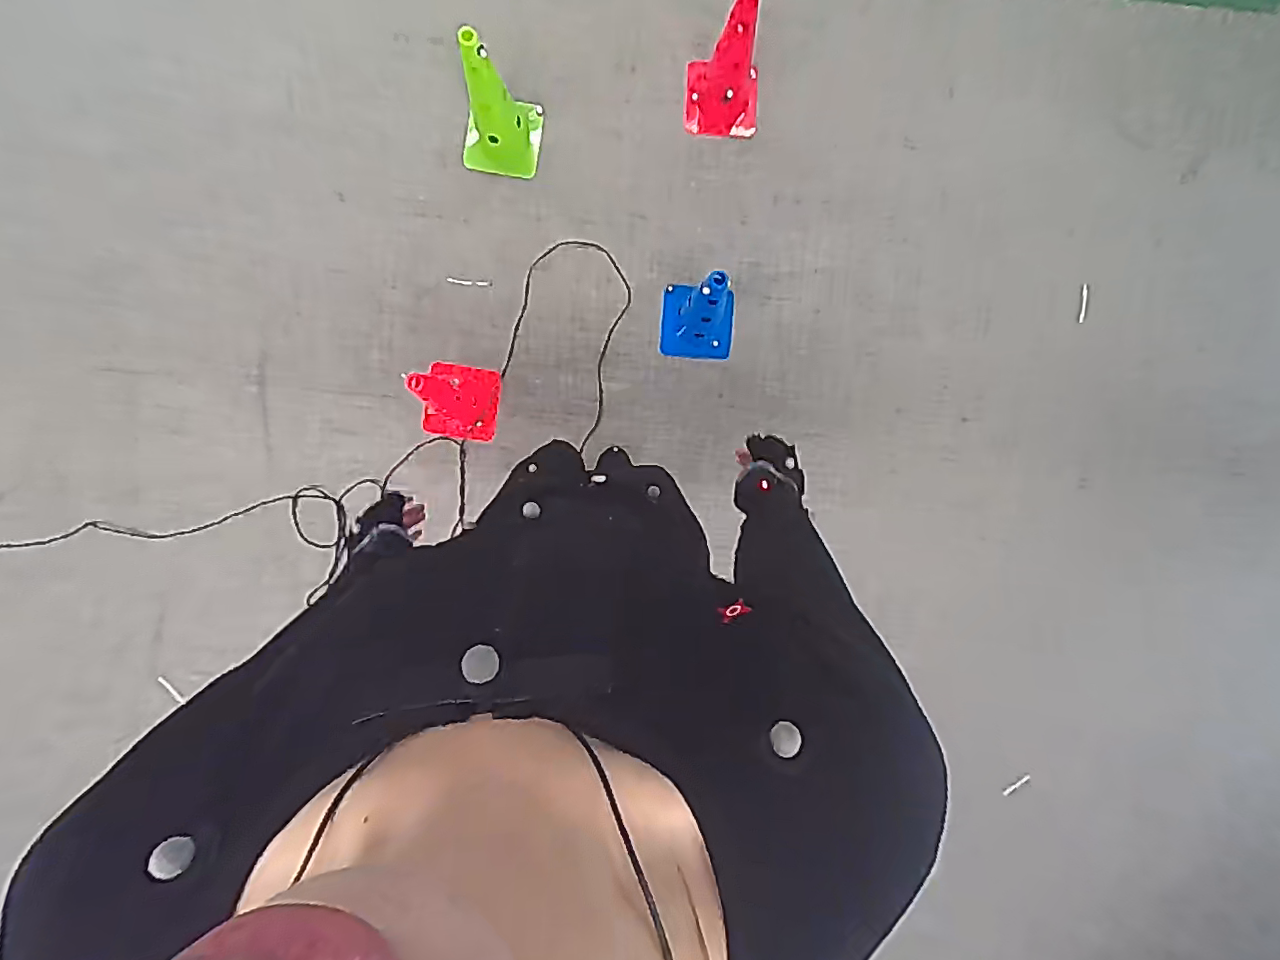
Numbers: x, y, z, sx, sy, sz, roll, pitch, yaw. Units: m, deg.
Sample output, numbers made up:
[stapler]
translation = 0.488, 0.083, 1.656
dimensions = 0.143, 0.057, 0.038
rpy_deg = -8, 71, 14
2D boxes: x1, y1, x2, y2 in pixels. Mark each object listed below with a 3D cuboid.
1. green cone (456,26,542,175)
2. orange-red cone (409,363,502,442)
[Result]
[green cone]
translation = -0.371, -0.936, 1.300
dimensions = 0.200, 0.368, 0.202
rpy_deg = 7, 92, -2
[orange-red cone]
translation = -0.481, -0.212, 1.317
dimensions = 0.198, 0.360, 0.199
rpy_deg = 10, 89, -3
